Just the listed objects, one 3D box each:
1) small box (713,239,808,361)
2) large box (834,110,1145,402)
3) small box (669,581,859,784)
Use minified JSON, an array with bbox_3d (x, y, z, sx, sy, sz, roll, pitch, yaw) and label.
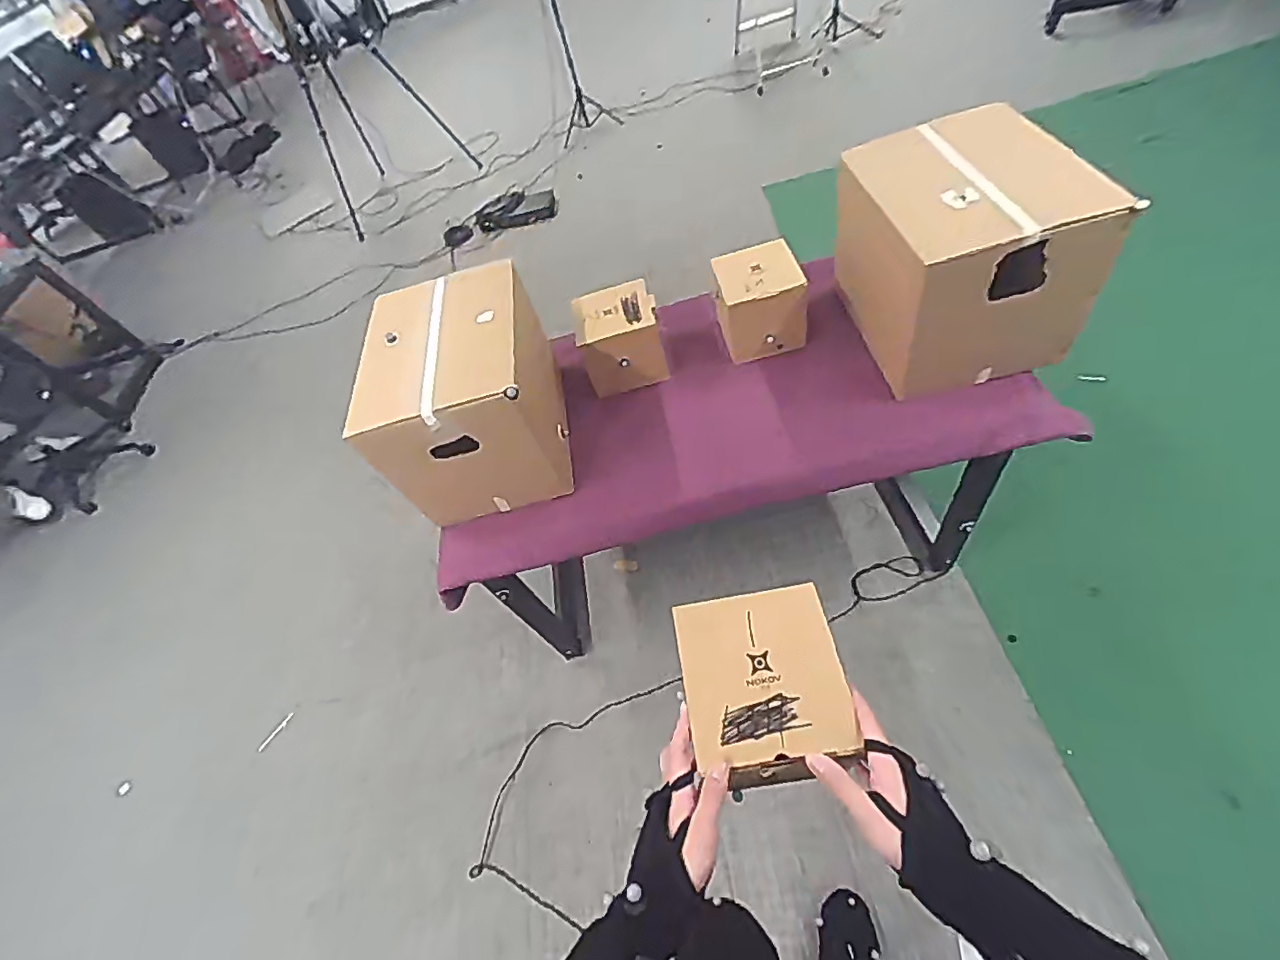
[{"bbox_3d":[0.263,-0.393,1.195,0.168,0.176,0.179,-14,54,7],"label":"small box"},{"bbox_3d":[0.598,-0.423,1.037,0.320,0.320,0.408,-14,54,8],"label":"large box"},{"bbox_3d":[0.134,0.242,0.627,0.168,0.176,0.179,-11,53,4],"label":"small box"}]
